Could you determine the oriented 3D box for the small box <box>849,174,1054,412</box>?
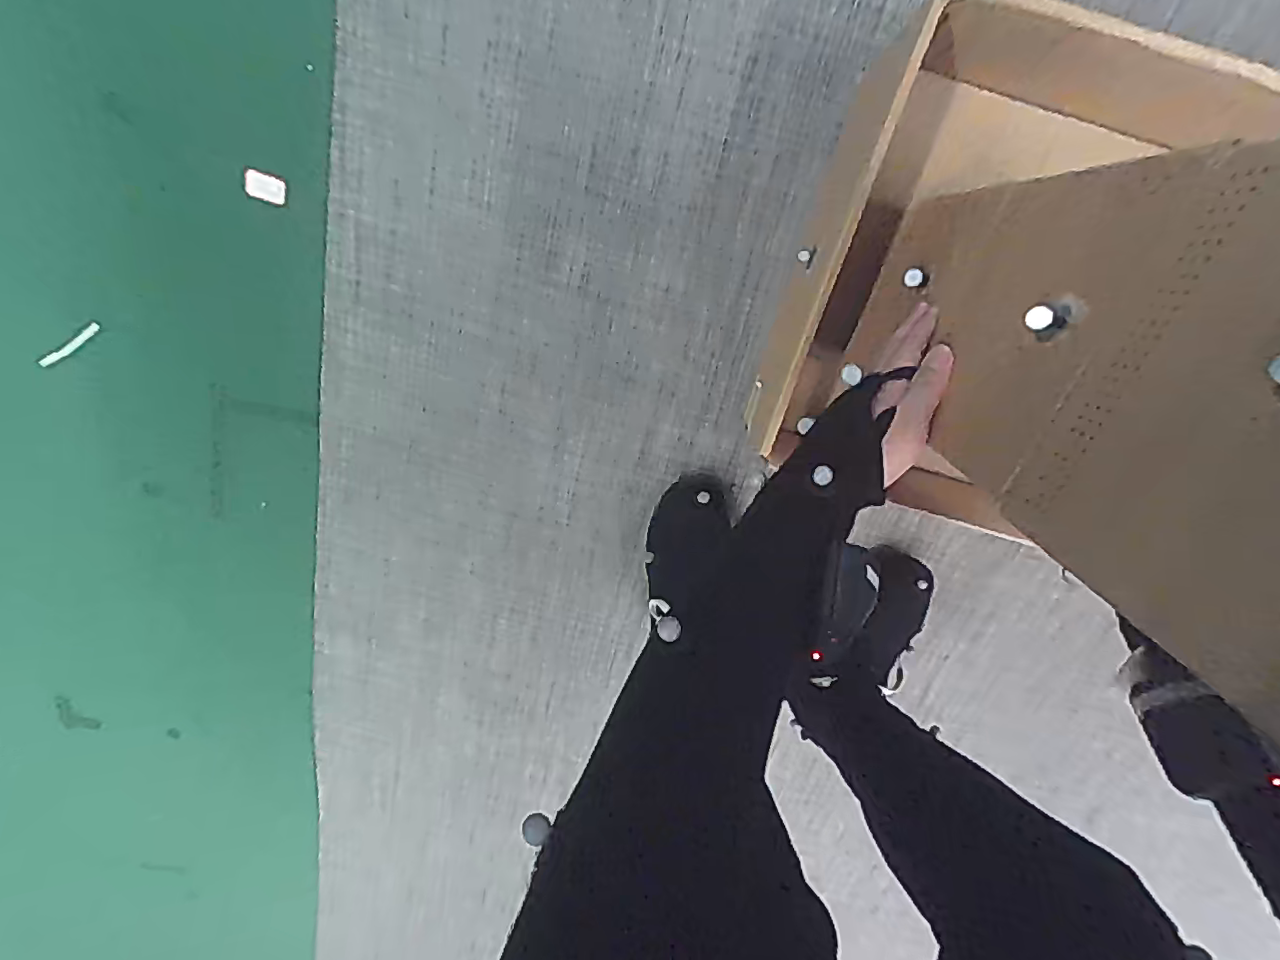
[{"bbox_3d":[0.311,-0.136,0.475,0.168,0.176,0.179,19,112,-4],"label":"small box"}]

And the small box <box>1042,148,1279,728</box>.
[{"bbox_3d":[0.285,-0.004,0.176,0.168,0.176,0.179,17,112,-3],"label":"small box"}]

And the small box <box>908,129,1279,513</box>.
[{"bbox_3d":[0.298,-0.071,0.326,0.168,0.176,0.179,19,113,-3],"label":"small box"}]
